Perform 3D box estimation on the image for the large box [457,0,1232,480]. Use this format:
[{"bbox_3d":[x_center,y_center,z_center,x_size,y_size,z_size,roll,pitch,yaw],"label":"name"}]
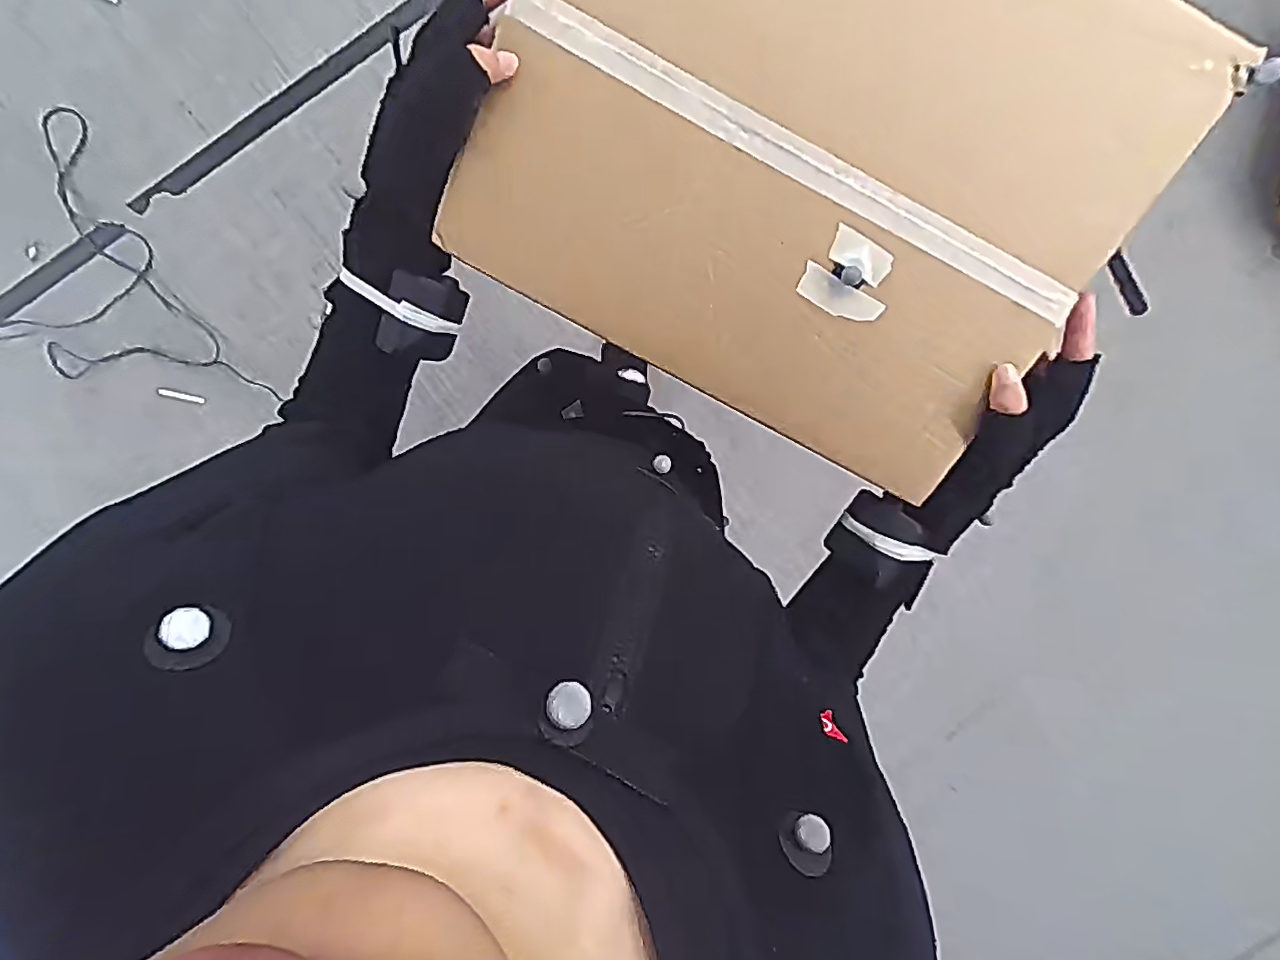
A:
[{"bbox_3d":[0.121,-0.260,0.495,0.408,0.320,0.320,28,110,-4],"label":"large box"}]
